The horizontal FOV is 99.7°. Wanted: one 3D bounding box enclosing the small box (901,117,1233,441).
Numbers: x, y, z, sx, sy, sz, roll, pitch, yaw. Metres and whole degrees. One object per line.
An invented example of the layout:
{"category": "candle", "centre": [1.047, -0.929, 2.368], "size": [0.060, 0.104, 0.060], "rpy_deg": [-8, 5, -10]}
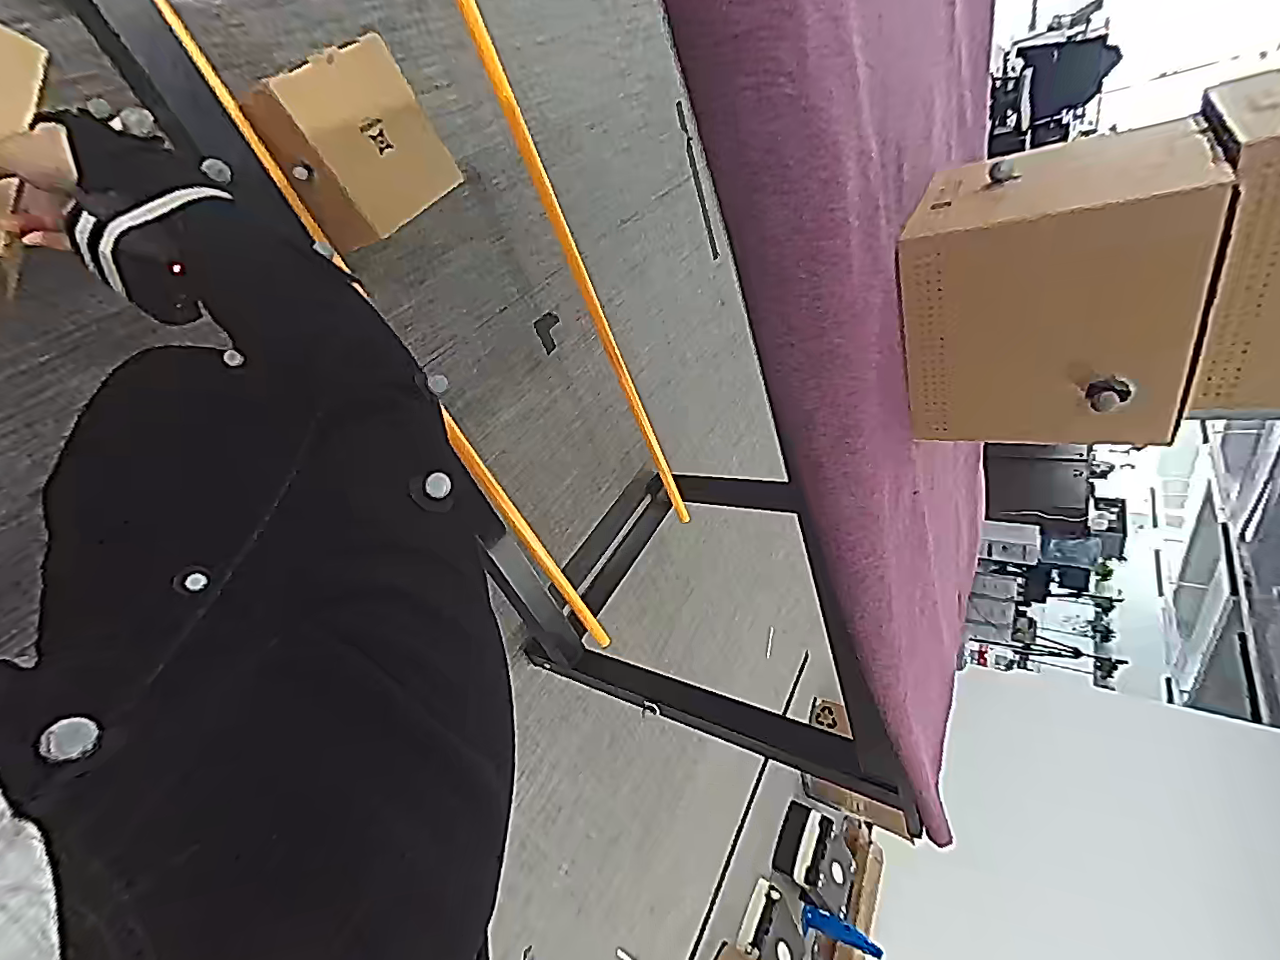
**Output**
{"category": "small box", "centre": [0.317, -0.150, 0.431], "size": [0.168, 0.176, 0.179], "rpy_deg": [-53, 133, -37]}

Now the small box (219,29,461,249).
{"category": "small box", "centre": [-0.376, -0.417, 0.690], "size": [0.168, 0.176, 0.179], "rpy_deg": [-59, 136, -31]}
